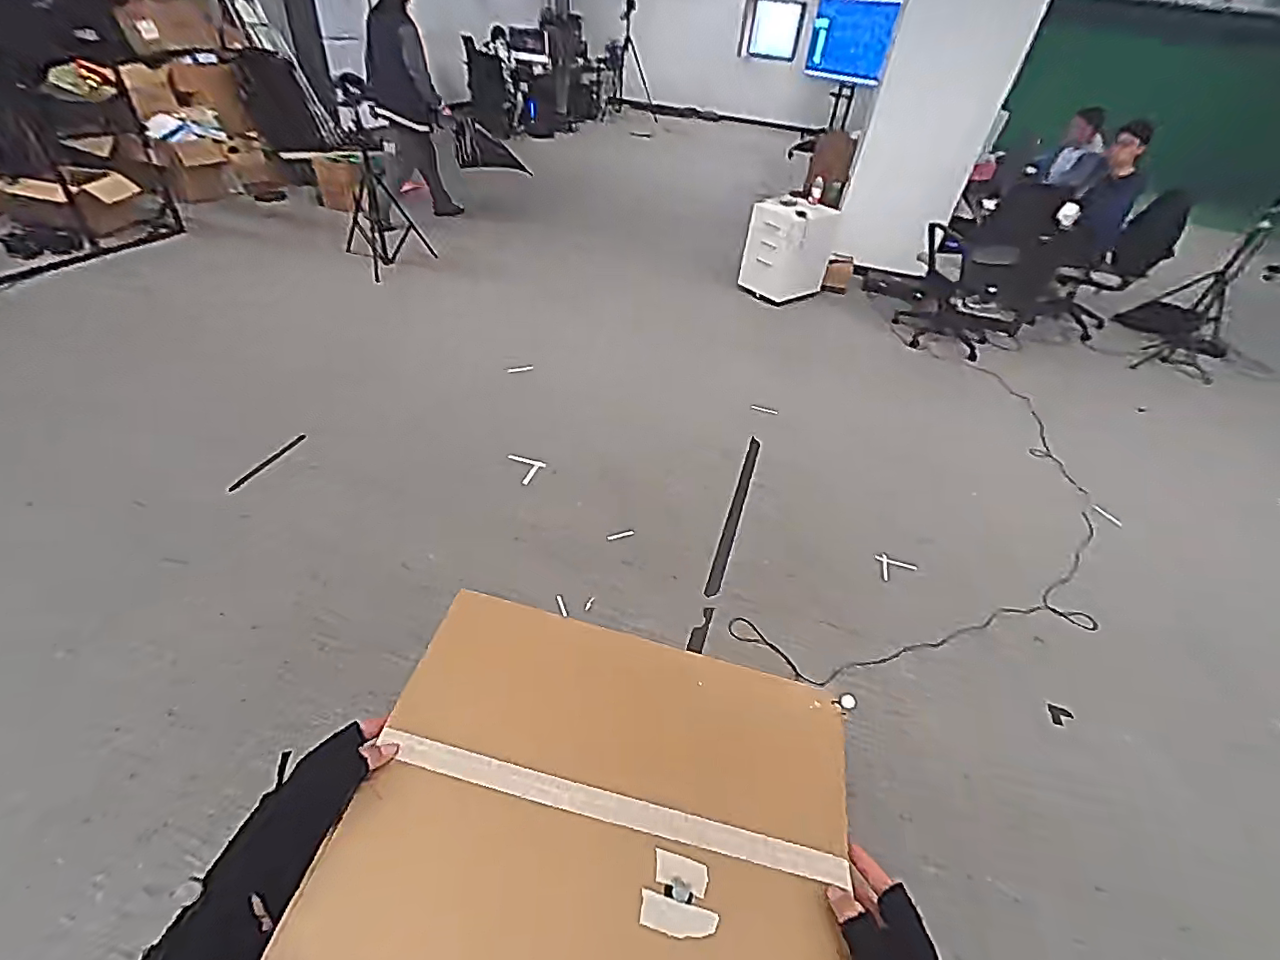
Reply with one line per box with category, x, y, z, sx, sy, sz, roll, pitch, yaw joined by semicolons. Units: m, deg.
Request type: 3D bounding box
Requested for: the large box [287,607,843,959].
large box;-0.049;0.386;0.564;0.408;0.320;0.320;15;46;2
